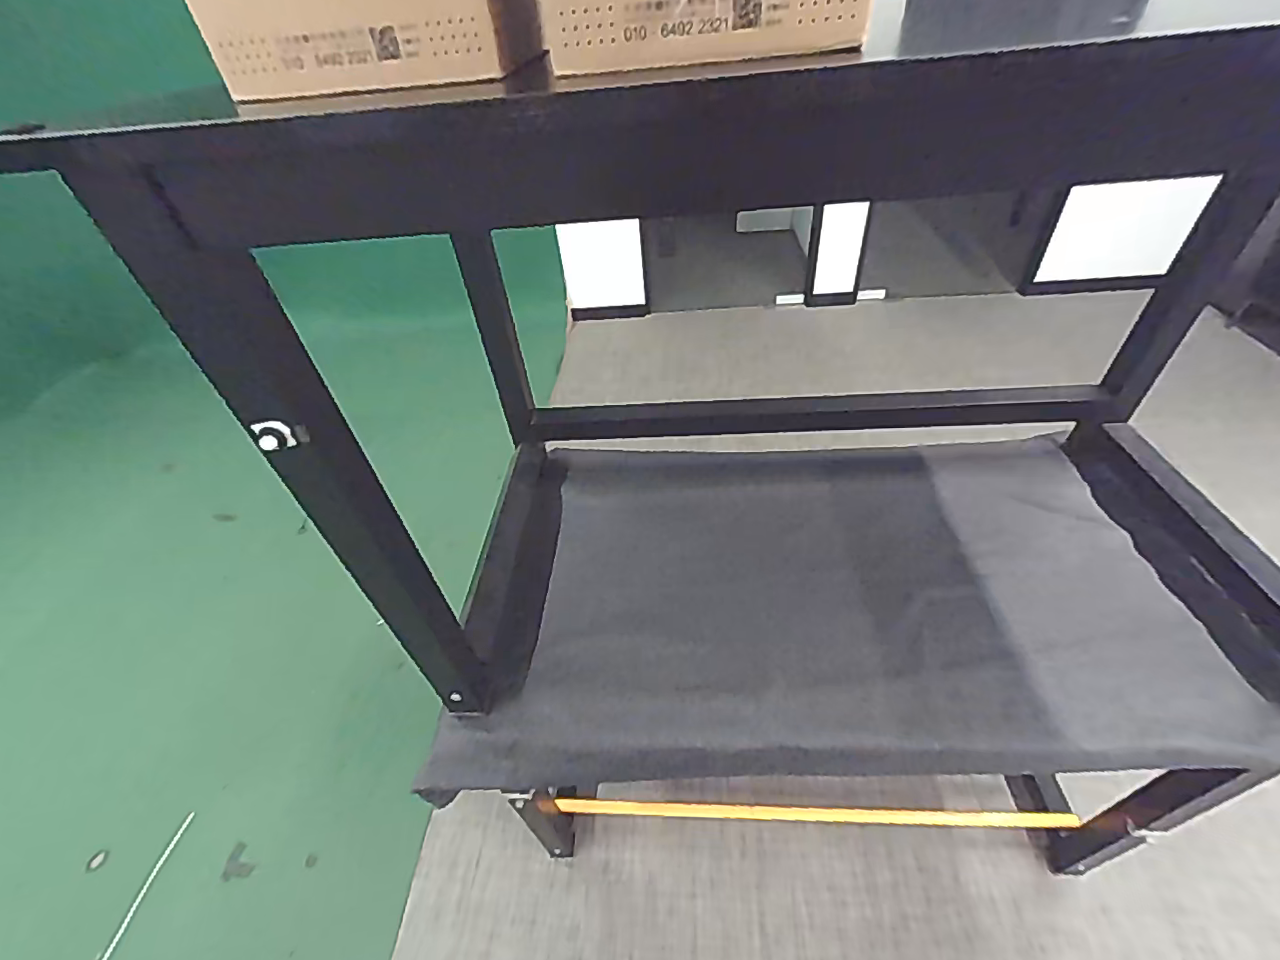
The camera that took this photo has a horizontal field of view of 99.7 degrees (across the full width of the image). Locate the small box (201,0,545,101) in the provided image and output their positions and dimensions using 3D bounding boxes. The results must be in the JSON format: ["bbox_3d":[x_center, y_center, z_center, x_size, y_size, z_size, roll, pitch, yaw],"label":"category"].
[{"bbox_3d":[-0.163,-0.342,0.327,0.168,0.176,0.179,-1,42,5],"label":"small box"}]
